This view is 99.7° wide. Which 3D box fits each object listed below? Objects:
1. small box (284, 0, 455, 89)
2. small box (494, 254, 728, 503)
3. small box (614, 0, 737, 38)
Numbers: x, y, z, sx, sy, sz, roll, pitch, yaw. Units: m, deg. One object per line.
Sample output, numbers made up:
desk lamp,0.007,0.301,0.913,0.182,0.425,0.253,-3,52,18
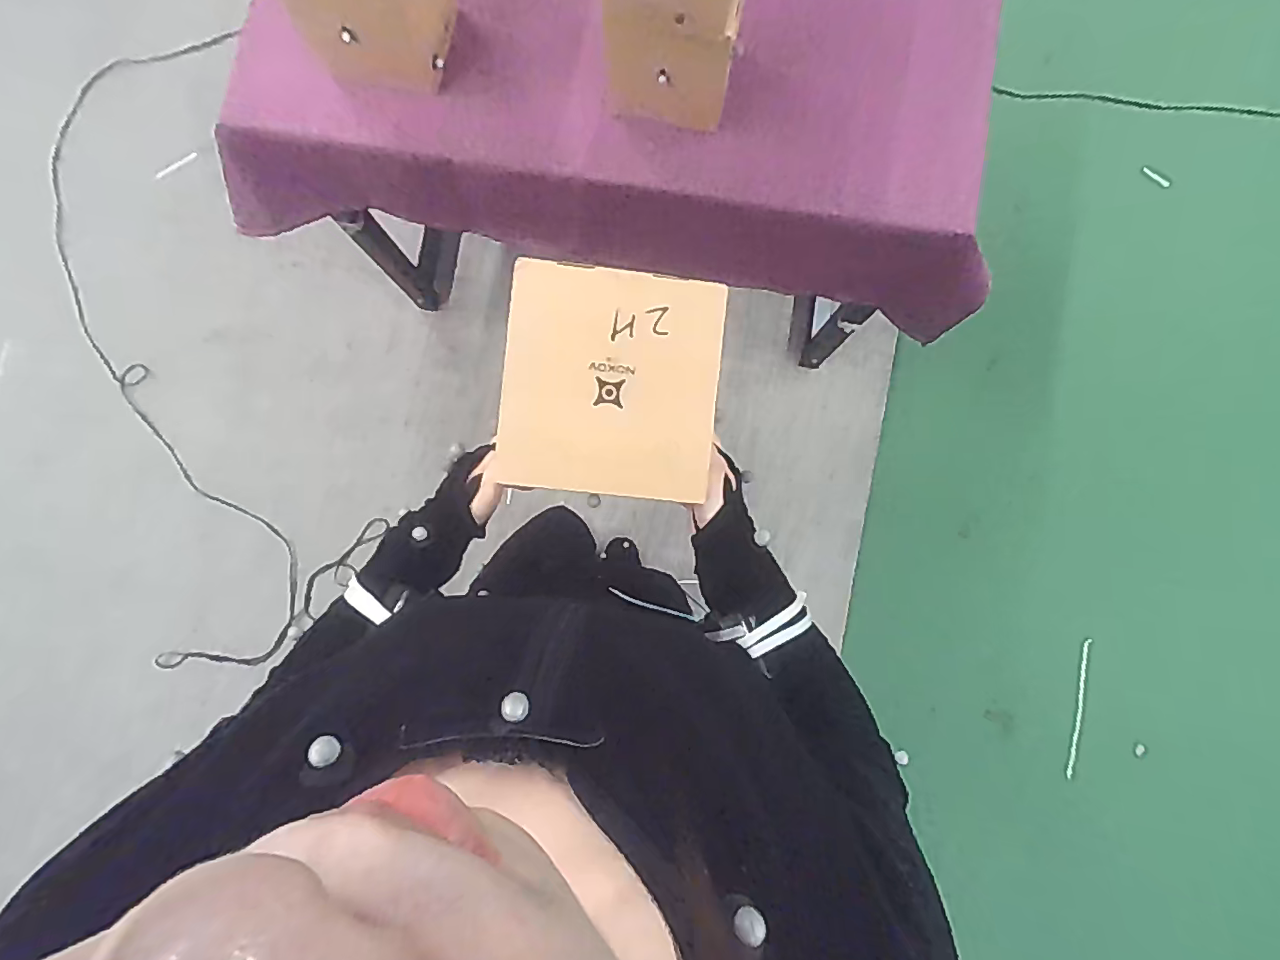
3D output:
small box,-0.391,-0.718,0.788,0.179,0.176,0.168,11,84,1
small box,-0.026,-0.079,0.497,0.168,0.176,0.179,7,90,-4
small box,0.052,-0.668,0.622,0.168,0.176,0.179,15,85,1
